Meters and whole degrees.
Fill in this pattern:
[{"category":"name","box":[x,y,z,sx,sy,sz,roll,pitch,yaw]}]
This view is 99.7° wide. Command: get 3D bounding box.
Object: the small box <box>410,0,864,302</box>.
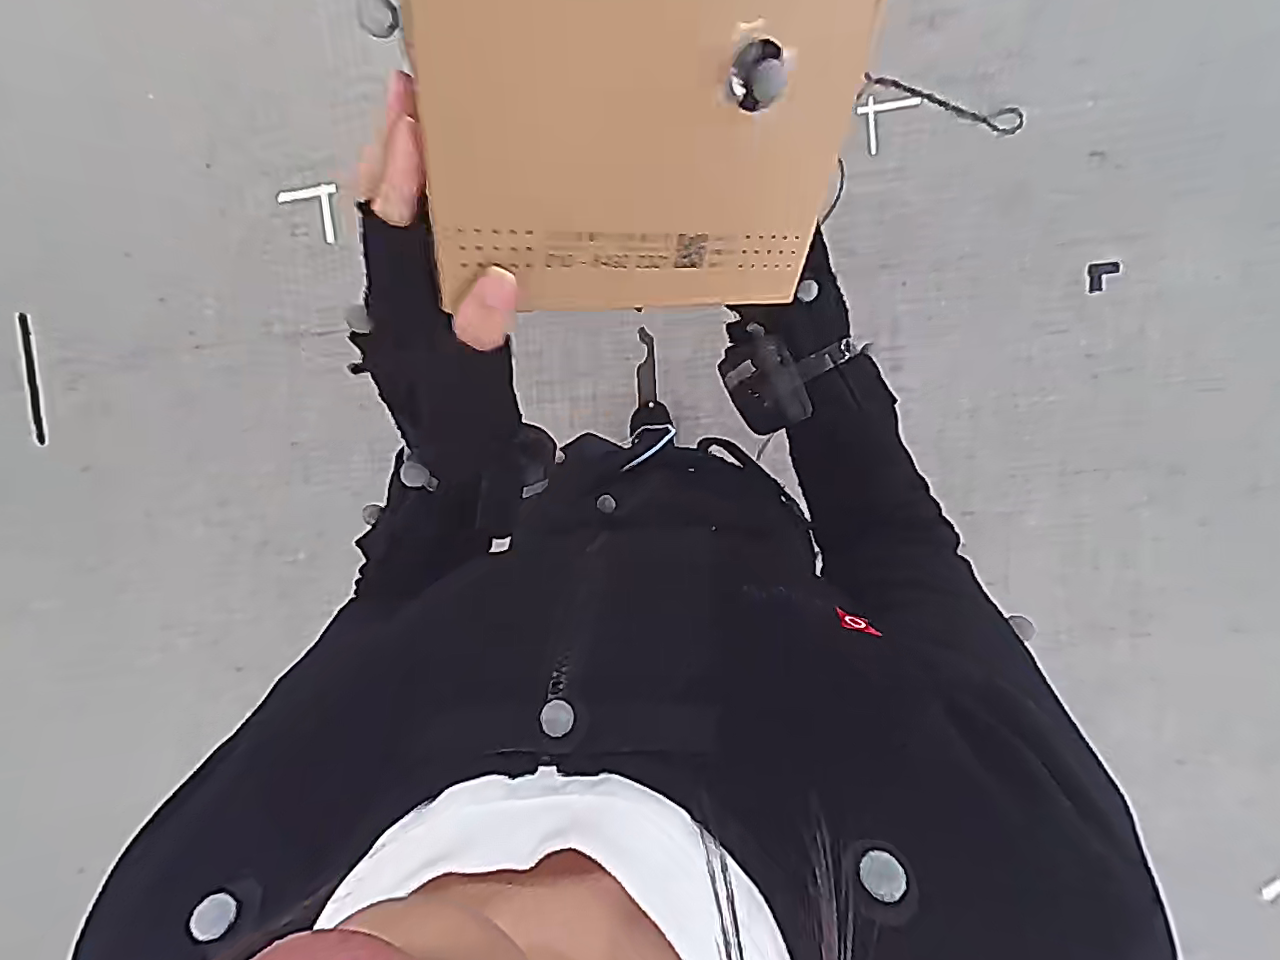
[{"category":"small box","box":[-0.016,-0.195,0.254,0.168,0.179,0.176,-8,134,-19]}]
